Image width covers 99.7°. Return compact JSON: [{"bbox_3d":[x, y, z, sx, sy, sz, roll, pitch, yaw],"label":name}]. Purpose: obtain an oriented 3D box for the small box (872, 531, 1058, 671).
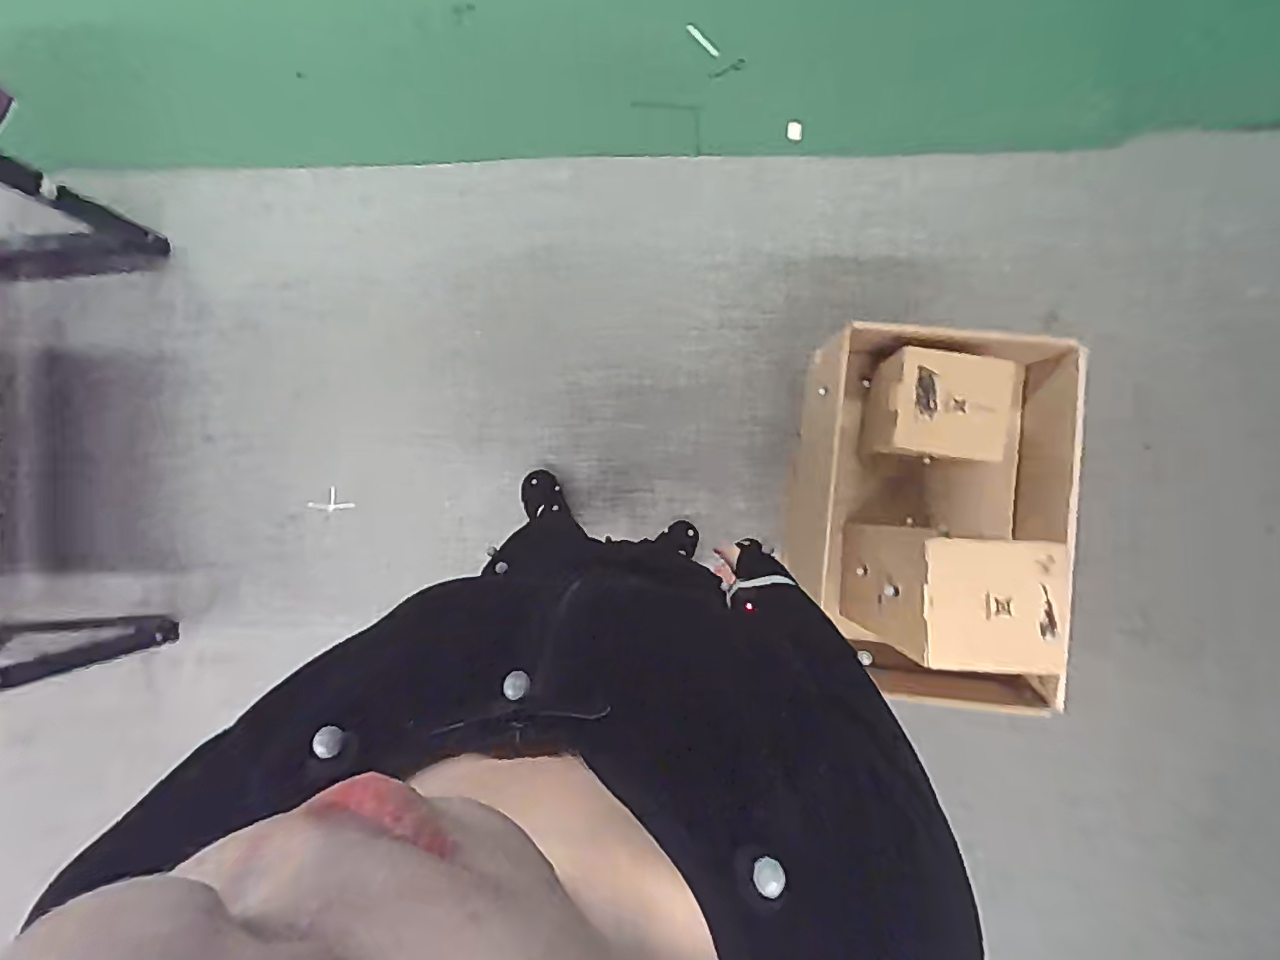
[{"bbox_3d":[0.450,0.161,0.775,0.179,0.176,0.168,3,88,3],"label":"small box"}]
